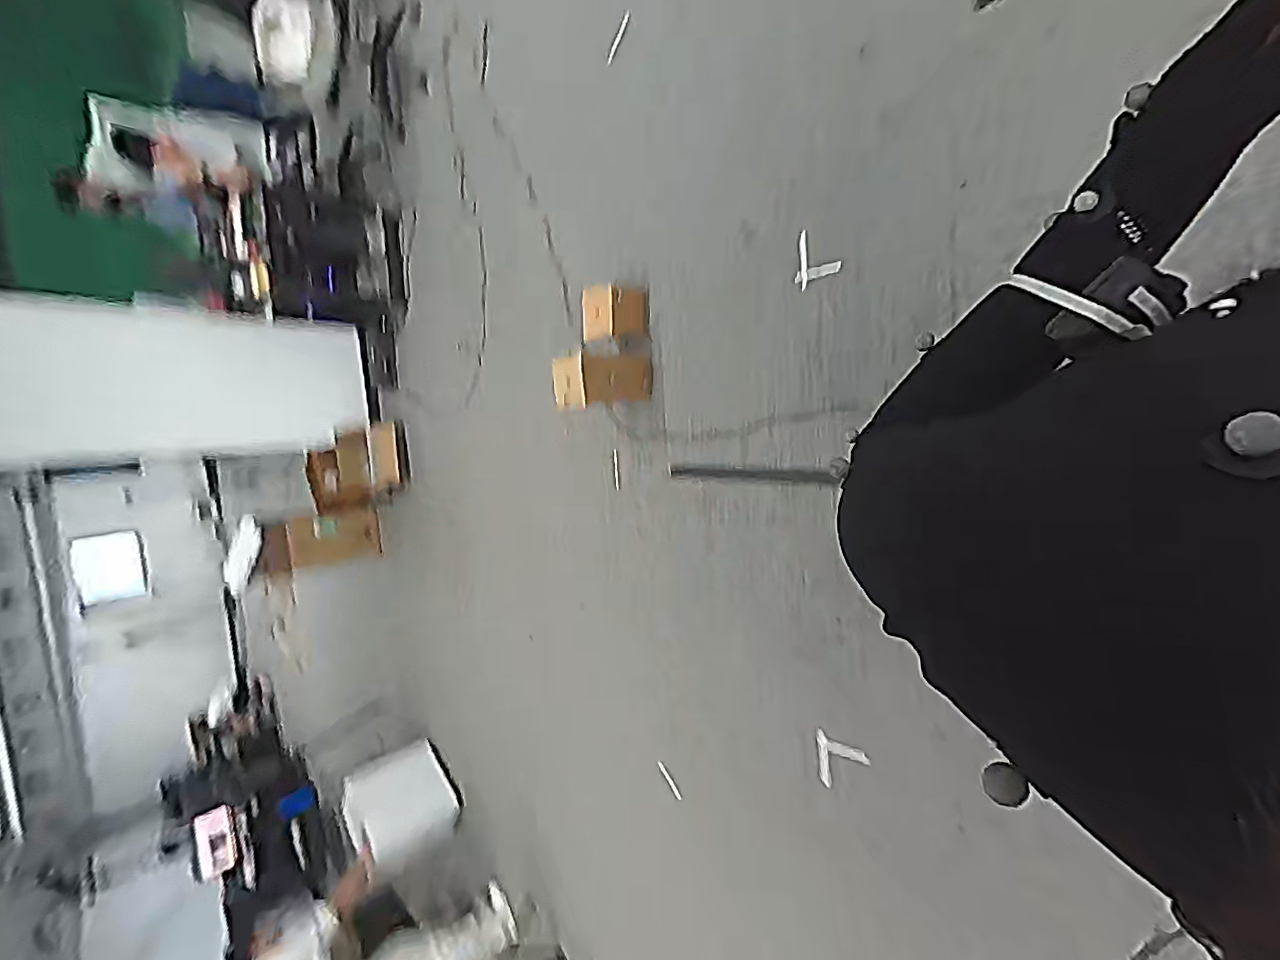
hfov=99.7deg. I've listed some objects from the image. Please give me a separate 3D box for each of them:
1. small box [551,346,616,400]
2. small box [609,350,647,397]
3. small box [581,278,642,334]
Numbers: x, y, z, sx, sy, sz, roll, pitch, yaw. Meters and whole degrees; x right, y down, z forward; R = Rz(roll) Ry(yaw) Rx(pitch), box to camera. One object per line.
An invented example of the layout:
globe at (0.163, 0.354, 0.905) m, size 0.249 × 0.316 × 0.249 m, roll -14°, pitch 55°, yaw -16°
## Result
small box at (-0.201, -0.379, 1.944) m, size 0.168 × 0.176 × 0.179 m, roll 4°, pitch 100°, yaw 44°
small box at (-0.091, -0.401, 2.064) m, size 0.179 × 0.176 × 0.168 m, roll 4°, pitch 101°, yaw 43°
small box at (-0.106, -0.650, 2.039) m, size 0.168 × 0.176 × 0.179 m, roll 7°, pitch 101°, yaw 44°
